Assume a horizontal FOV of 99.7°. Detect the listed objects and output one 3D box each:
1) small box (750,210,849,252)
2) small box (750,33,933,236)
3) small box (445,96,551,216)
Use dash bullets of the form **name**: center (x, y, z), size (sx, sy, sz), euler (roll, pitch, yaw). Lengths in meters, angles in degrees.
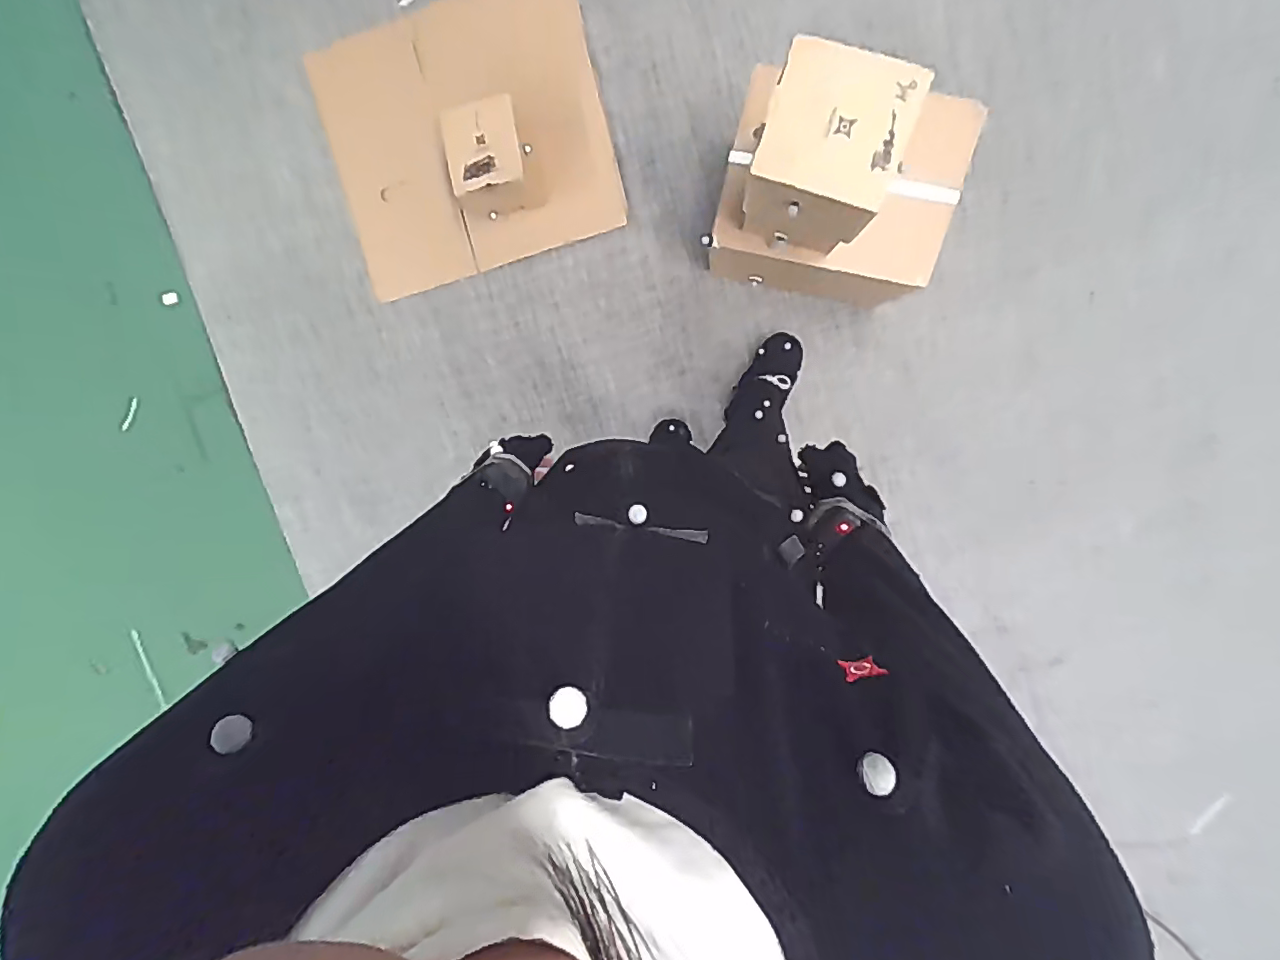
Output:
- **small box**: center (0.284, -0.501, 0.896), size (0.168, 0.176, 0.179), euler (16, 104, 6)
- **small box**: center (0.258, -0.456, 0.743), size (0.179, 0.176, 0.168), euler (17, 101, 6)
- **small box**: center (-0.317, -0.729, 1.242), size (0.168, 0.176, 0.179), euler (-8, 97, 10)
